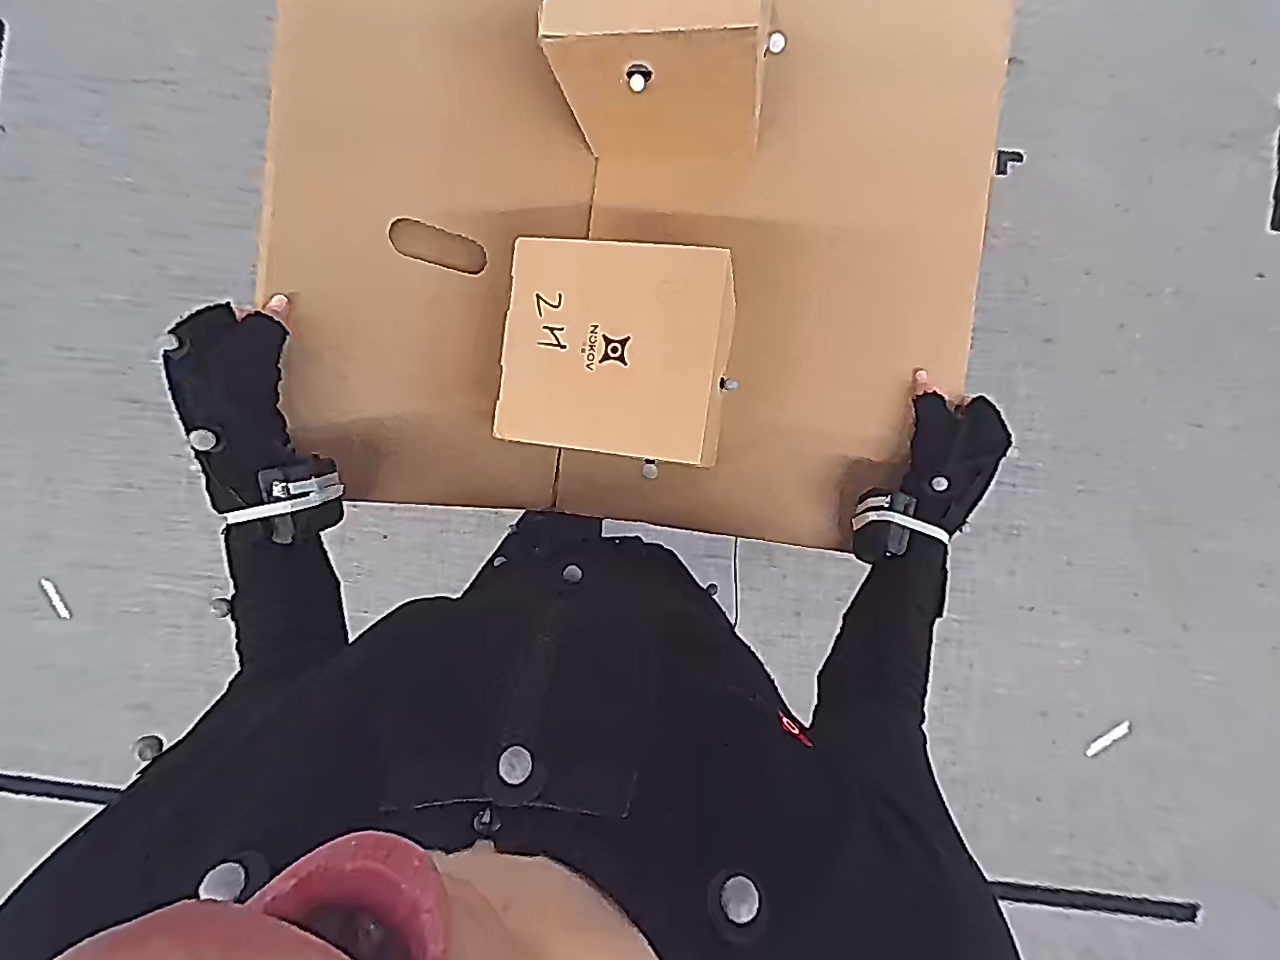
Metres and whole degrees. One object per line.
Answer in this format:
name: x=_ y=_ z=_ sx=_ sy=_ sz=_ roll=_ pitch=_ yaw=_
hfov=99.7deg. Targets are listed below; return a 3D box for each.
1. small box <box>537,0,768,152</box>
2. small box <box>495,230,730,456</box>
small box: x=0.024 y=-0.432 z=0.502 sx=0.179 sy=0.176 sz=0.168 roll=6 pitch=92 yaw=11
small box: x=-0.012 y=-0.115 z=0.514 sx=0.179 sy=0.176 sz=0.168 roll=9 pitch=92 yaw=12
